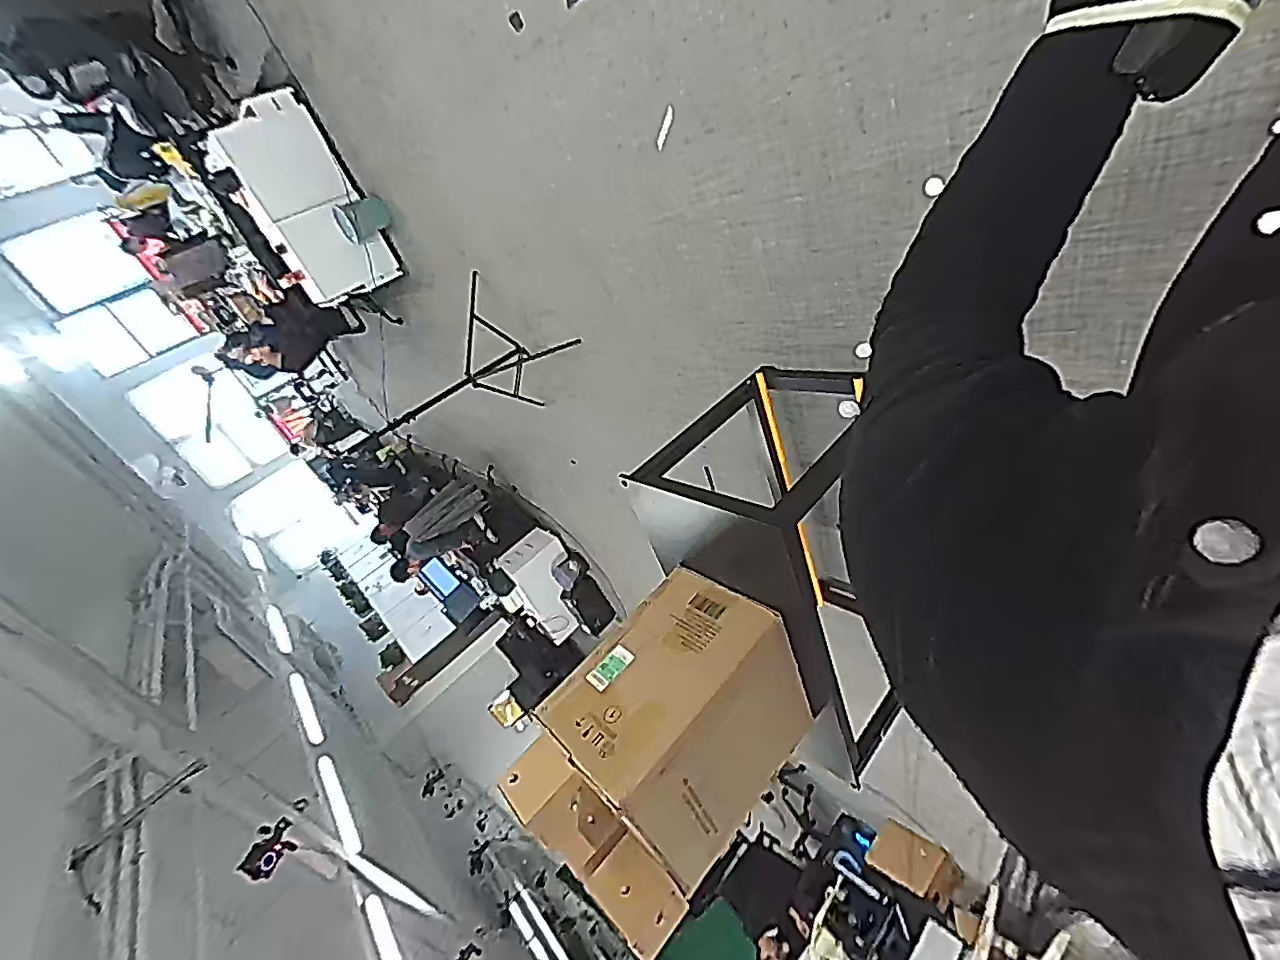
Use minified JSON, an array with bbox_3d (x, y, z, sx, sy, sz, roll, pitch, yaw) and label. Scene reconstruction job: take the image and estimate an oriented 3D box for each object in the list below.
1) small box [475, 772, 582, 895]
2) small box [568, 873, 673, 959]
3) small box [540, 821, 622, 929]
[{"bbox_3d":[-0.276,0.872,1.356,0.179,0.176,0.168,18,142,50],"label":"small box"},{"bbox_3d":[-0.040,1.134,1.338,0.179,0.176,0.168,9,131,49],"label":"small box"},{"bbox_3d":[-0.168,1.099,1.495,0.168,0.176,0.179,19,140,48],"label":"small box"}]
